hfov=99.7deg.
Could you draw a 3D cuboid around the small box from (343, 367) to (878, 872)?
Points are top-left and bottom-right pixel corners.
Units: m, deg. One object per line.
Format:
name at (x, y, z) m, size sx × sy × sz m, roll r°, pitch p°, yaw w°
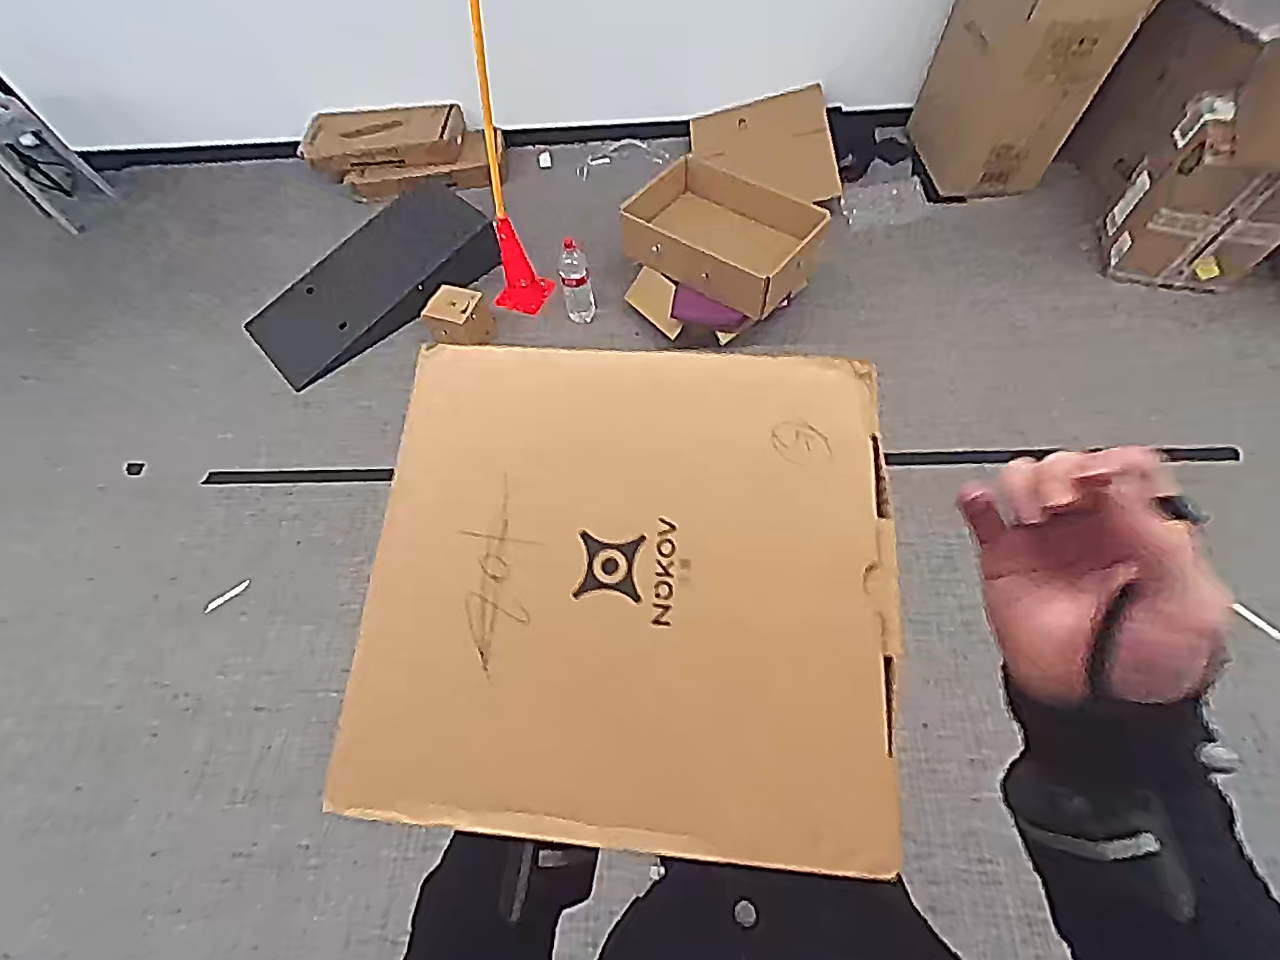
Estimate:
small box at (0.000, 0.060, 0.270) m, size 0.179 × 0.176 × 0.168 m, roll 3°, pitch 72°, yaw 7°
